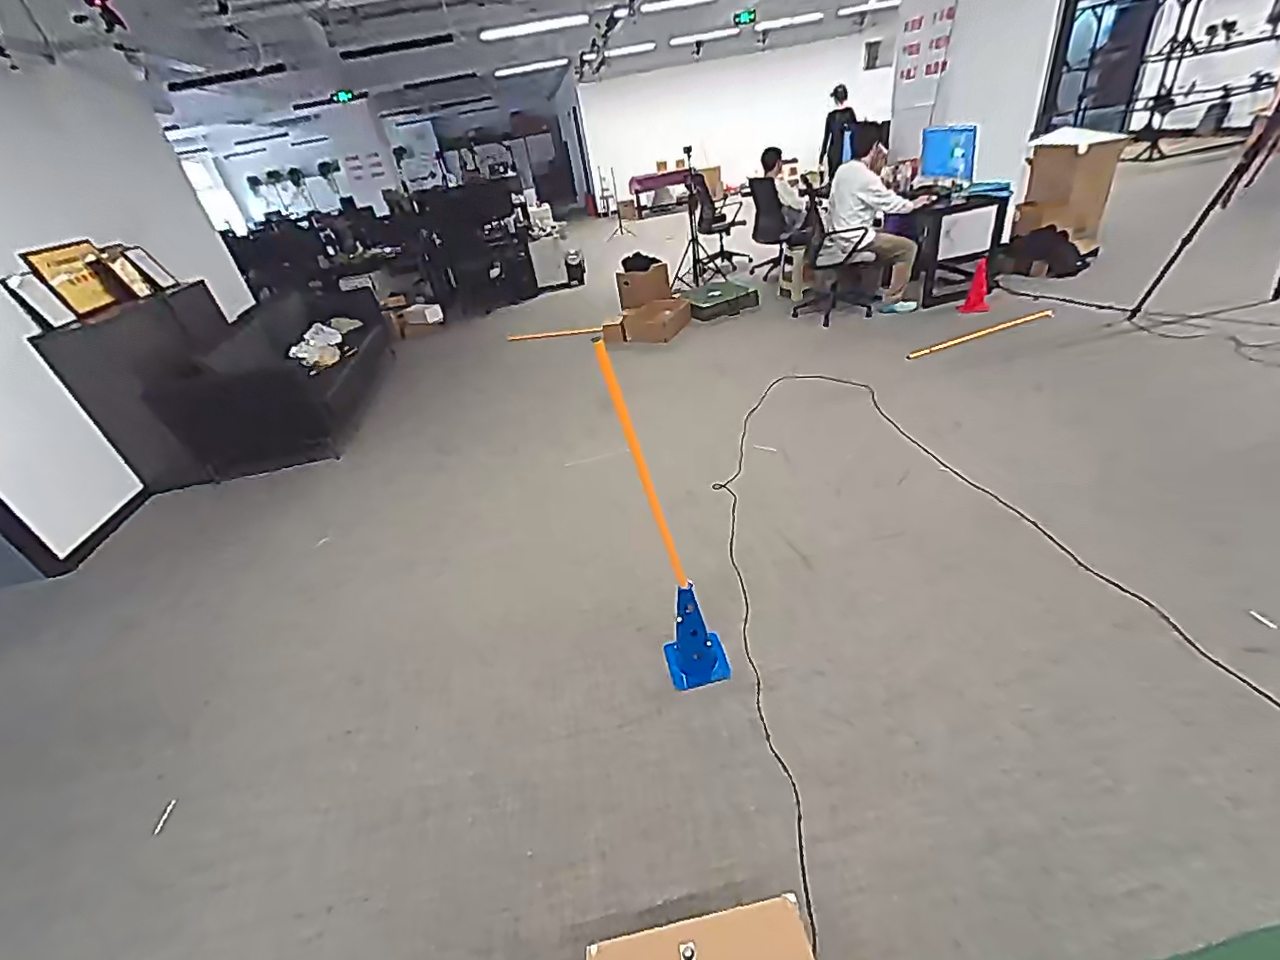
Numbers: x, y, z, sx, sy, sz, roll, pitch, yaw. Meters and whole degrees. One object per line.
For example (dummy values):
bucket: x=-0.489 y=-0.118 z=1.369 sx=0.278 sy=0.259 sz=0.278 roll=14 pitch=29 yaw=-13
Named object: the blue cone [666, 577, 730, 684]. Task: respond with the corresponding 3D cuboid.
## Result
blue cone: x=0.168 y=0.471 z=1.762 sx=0.193 sy=0.380 sz=0.192 roll=-16 pitch=32 yaw=-5
